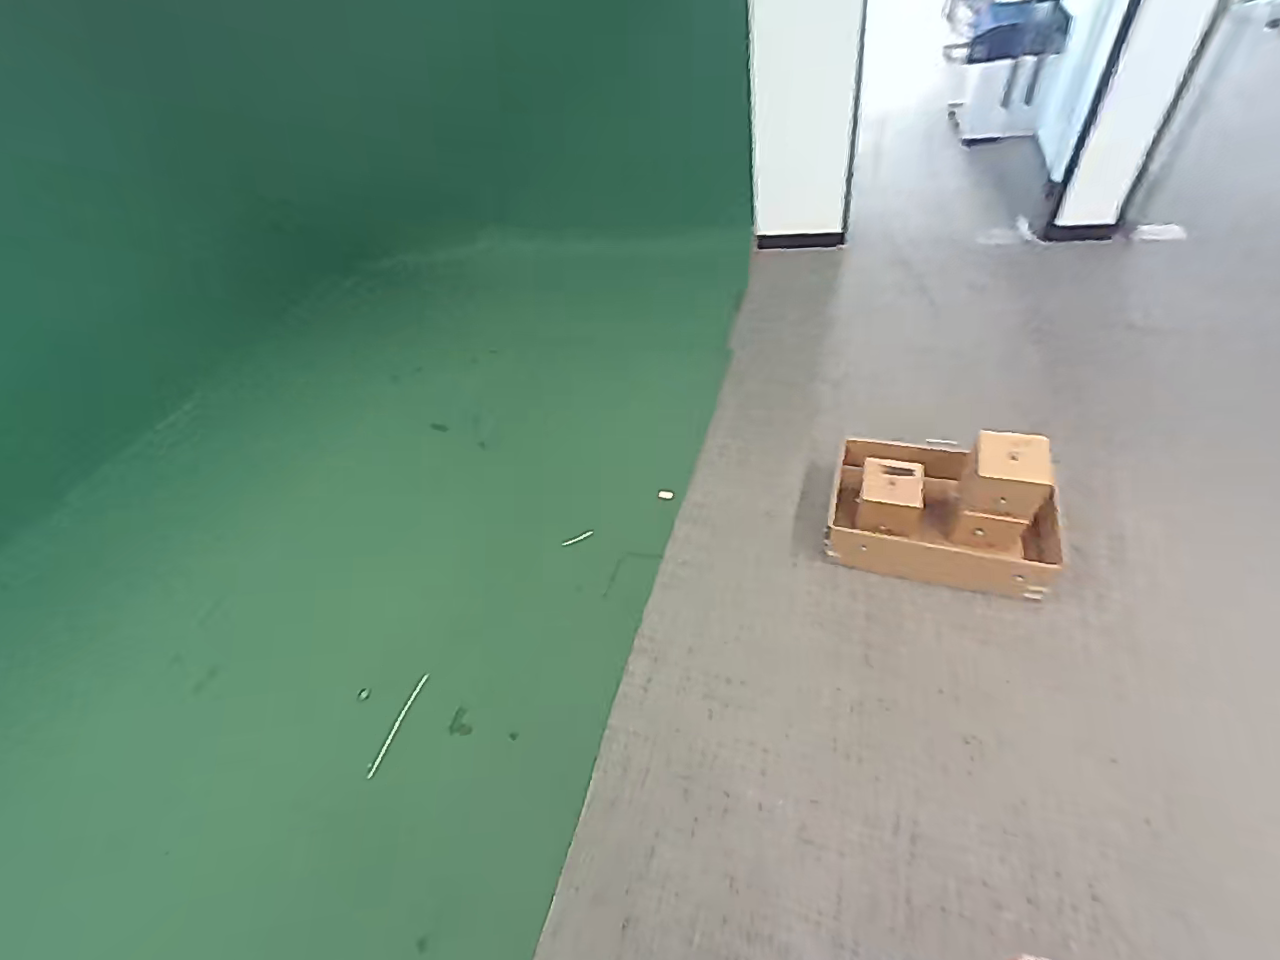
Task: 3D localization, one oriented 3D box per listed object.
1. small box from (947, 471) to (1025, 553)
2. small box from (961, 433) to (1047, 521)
[{"bbox_3d":[1.049,0.101,1.647,0.168,0.176,0.179,9,53,21],"label":"small box"},{"bbox_3d":[1.021,-0.006,1.524,0.168,0.176,0.179,10,53,22],"label":"small box"}]
